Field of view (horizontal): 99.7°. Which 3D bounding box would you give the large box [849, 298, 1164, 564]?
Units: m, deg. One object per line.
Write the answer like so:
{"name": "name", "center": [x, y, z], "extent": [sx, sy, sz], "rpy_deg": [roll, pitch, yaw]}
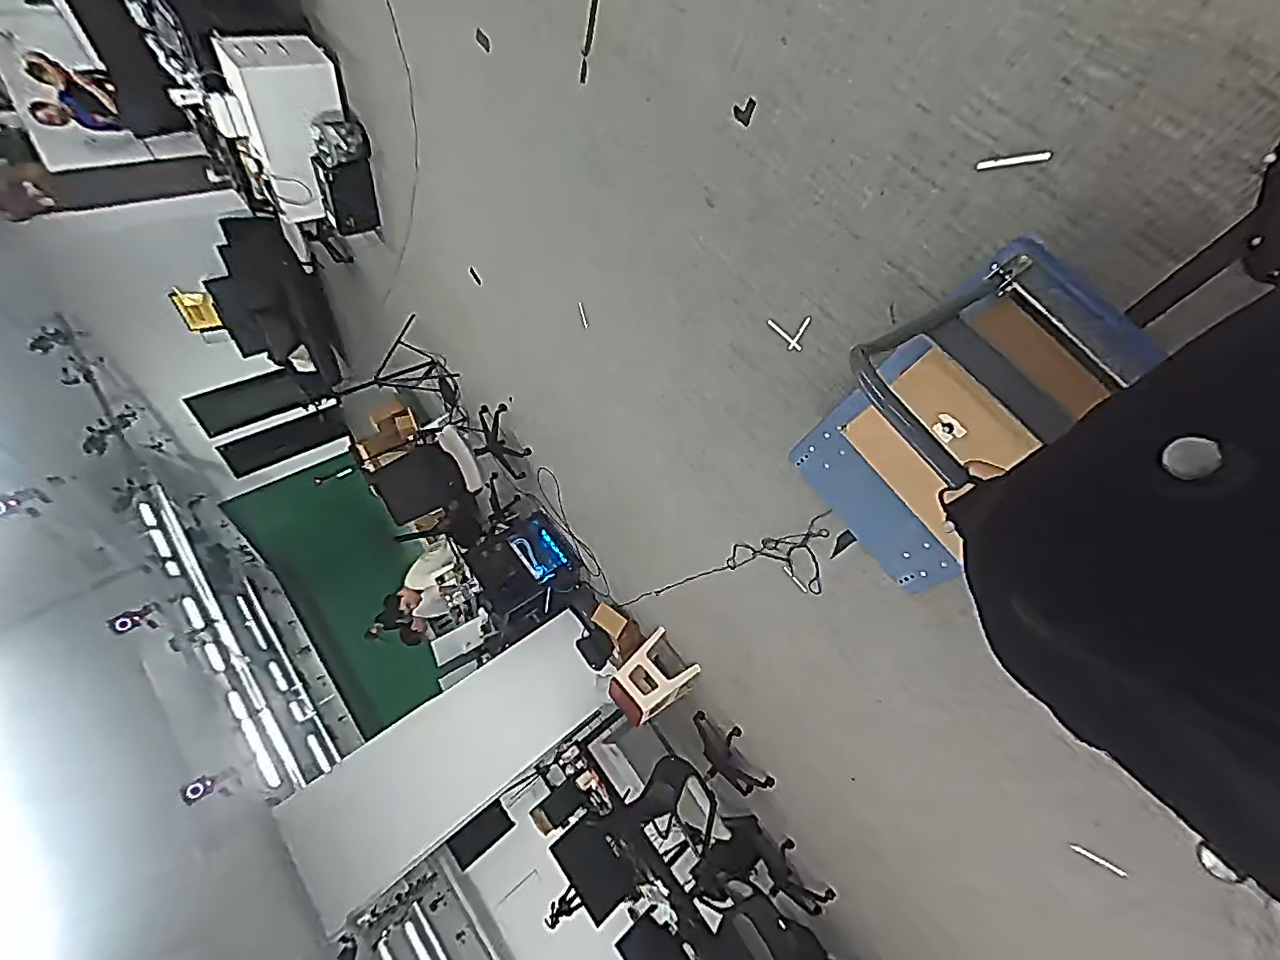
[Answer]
{"name": "large box", "center": [0.750, -0.105, 1.141], "extent": [0.408, 0.320, 0.320], "rpy_deg": [53, 147, 13]}
